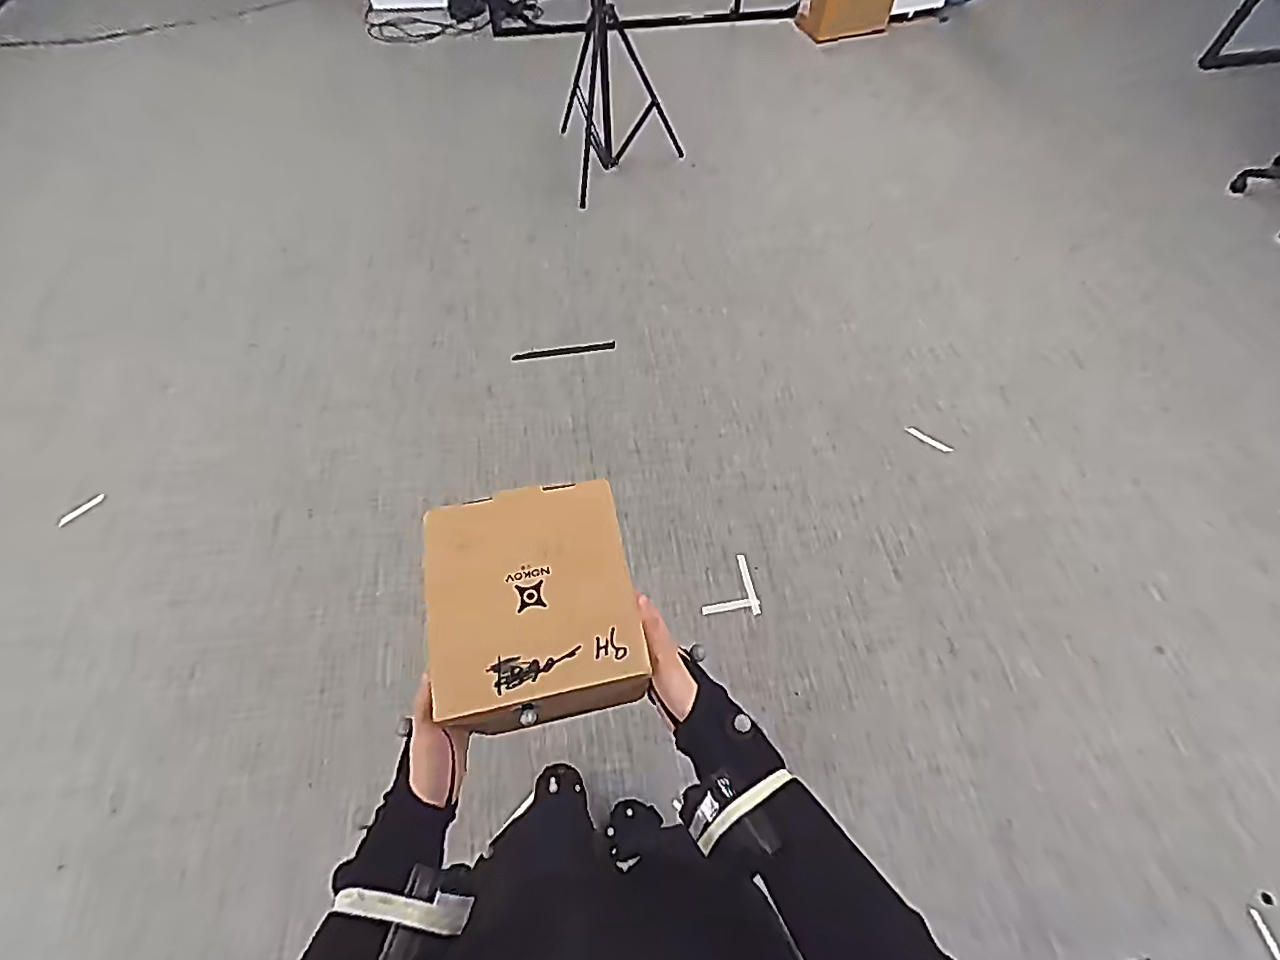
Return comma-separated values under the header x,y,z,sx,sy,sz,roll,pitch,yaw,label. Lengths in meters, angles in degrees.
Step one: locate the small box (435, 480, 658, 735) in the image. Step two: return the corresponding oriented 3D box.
x,y,z,sx,sy,sz,roll,pitch,yaw,label
-0.086,0.125,0.511,0.168,0.176,0.179,-10,62,-8,small box
